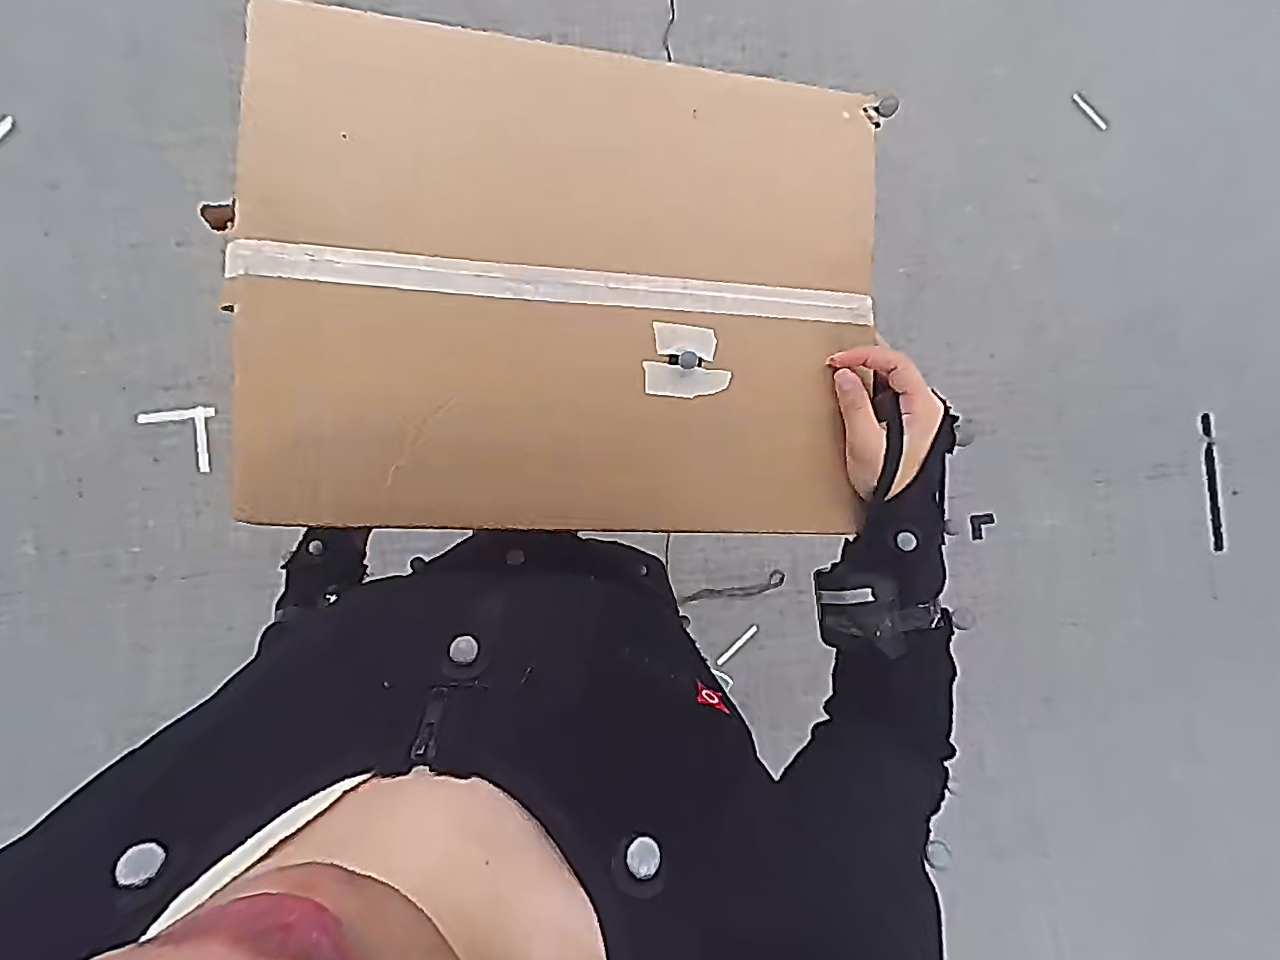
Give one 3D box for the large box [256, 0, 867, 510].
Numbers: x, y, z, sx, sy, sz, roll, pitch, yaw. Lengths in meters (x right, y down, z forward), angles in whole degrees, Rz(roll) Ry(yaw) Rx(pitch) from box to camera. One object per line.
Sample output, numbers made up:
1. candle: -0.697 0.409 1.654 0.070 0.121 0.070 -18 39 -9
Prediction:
1. large box: -0.061 -0.136 0.504 0.408 0.320 0.320 2 90 -11
